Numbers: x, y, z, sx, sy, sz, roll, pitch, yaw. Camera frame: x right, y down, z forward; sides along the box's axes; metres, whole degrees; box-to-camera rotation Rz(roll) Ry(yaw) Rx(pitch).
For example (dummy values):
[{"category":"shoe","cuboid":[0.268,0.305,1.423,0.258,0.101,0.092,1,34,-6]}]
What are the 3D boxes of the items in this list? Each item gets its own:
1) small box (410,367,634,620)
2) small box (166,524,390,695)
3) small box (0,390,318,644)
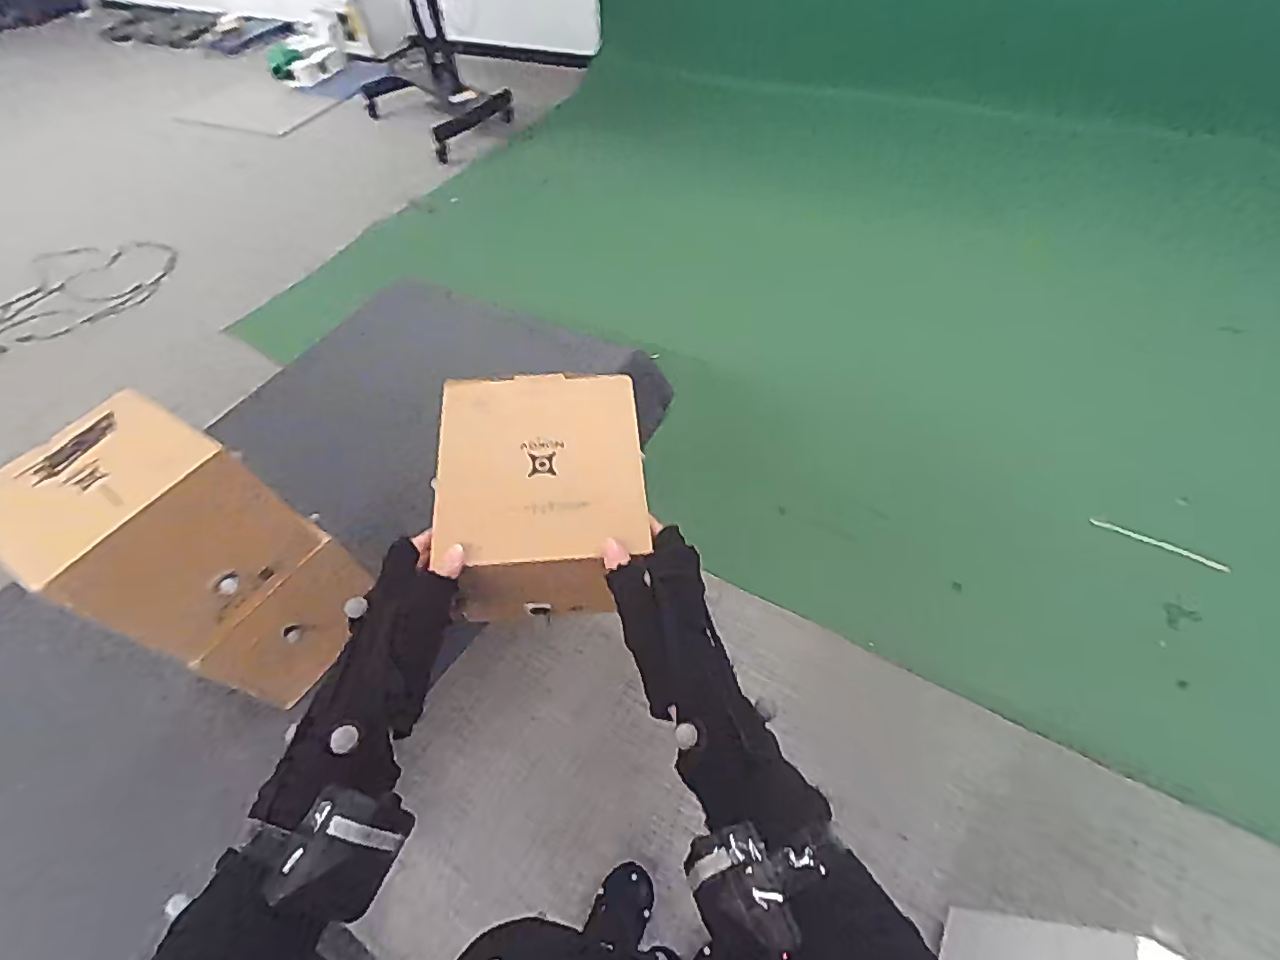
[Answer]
[{"category":"small box","cuboid":[-0.101,0.018,0.505,0.168,0.176,0.179,-5,63,-7]},{"category":"small box","cuboid":[-0.459,0.139,0.679,0.168,0.176,0.179,25,61,23]},{"category":"small box","cuboid":[-0.485,0.040,0.550,0.179,0.176,0.168,21,58,22]}]
